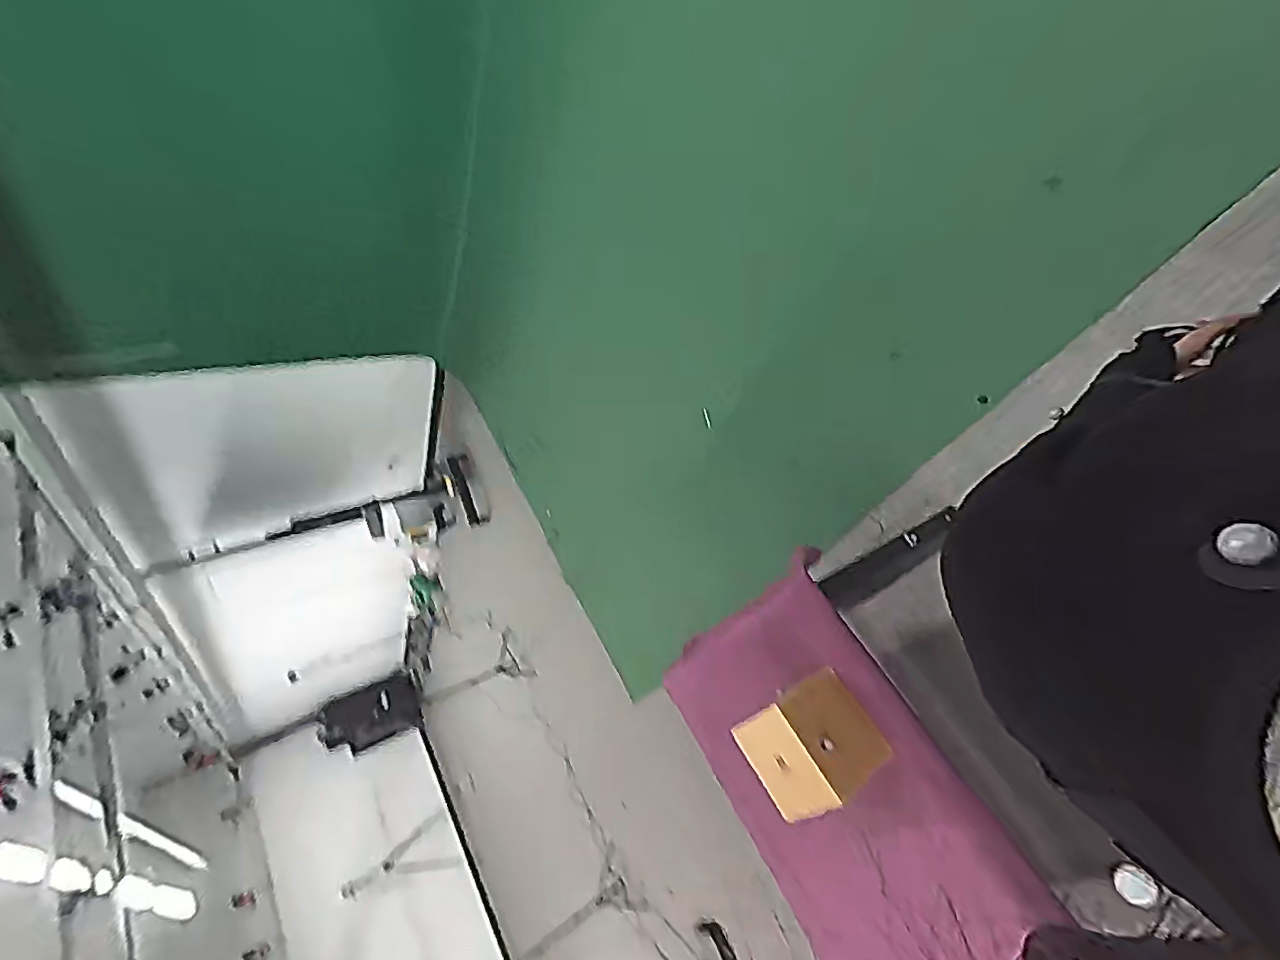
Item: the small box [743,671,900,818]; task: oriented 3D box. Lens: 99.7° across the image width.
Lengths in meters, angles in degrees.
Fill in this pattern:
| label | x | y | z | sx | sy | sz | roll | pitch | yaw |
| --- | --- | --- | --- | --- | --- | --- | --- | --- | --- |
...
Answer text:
| label | x | y | z | sx | sy | sz | roll | pitch | yaw |
| --- | --- | --- | --- | --- | --- | --- | --- | --- | --- |
| small box | 0.333 | 0.479 | 1.002 | 0.179 | 0.176 | 0.168 | 55 | 139 | 24 |
